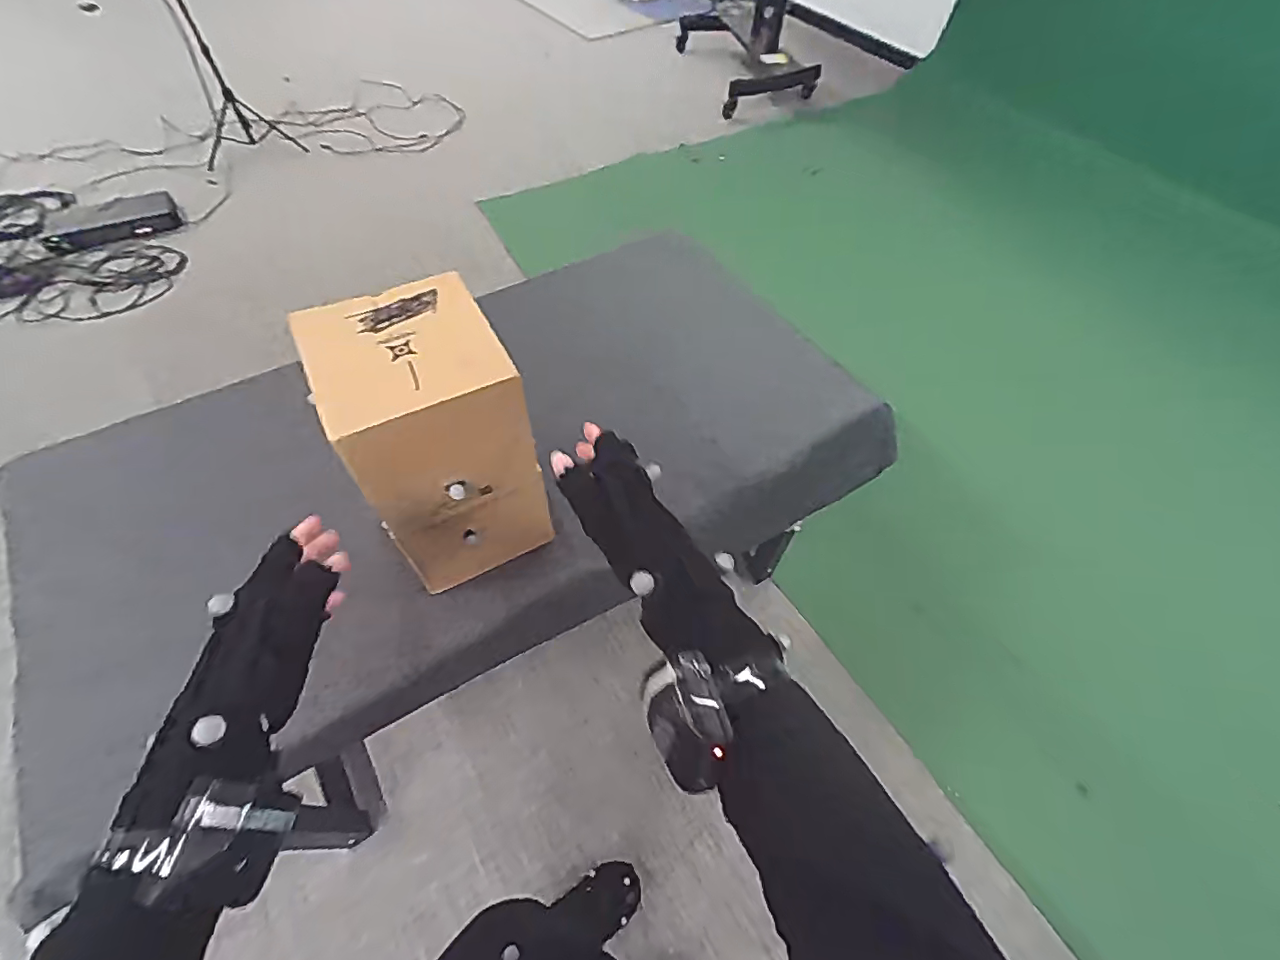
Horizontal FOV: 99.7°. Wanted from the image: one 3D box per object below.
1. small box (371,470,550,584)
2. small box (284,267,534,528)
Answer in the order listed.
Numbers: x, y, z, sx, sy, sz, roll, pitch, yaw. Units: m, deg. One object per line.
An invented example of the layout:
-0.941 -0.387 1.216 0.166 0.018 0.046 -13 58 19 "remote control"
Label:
-0.235 0.007 0.700 0.179 0.176 0.168 -25 61 -17 "small box"
-0.228 -0.084 0.562 0.168 0.176 0.179 -27 59 -19 "small box"
